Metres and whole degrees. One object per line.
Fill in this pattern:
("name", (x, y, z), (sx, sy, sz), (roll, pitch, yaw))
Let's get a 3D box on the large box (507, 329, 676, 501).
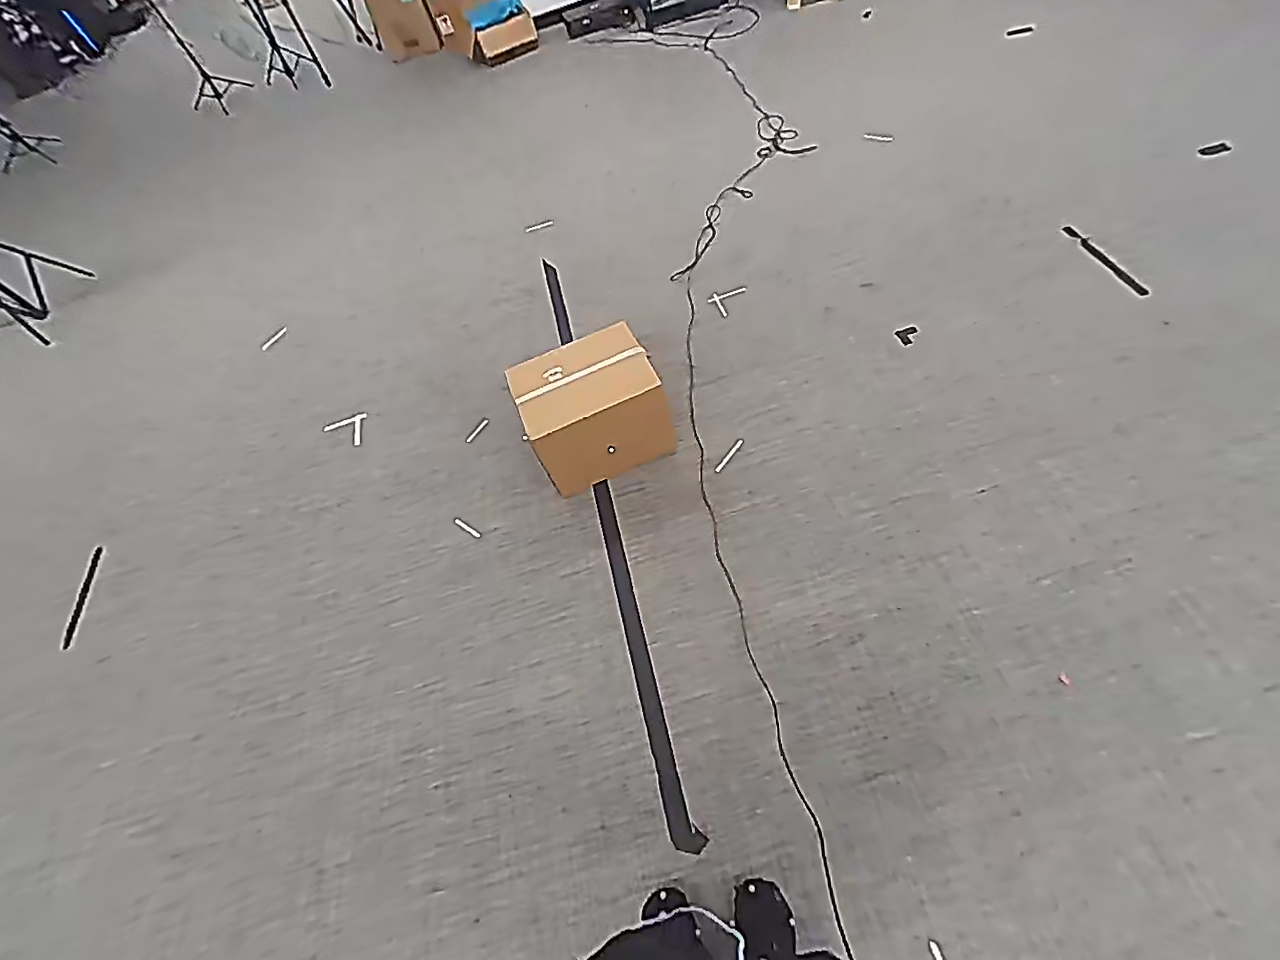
("large box", (-0.143, -0.197, 1.699), (0.408, 0.320, 0.320), (-24, 54, -2))
